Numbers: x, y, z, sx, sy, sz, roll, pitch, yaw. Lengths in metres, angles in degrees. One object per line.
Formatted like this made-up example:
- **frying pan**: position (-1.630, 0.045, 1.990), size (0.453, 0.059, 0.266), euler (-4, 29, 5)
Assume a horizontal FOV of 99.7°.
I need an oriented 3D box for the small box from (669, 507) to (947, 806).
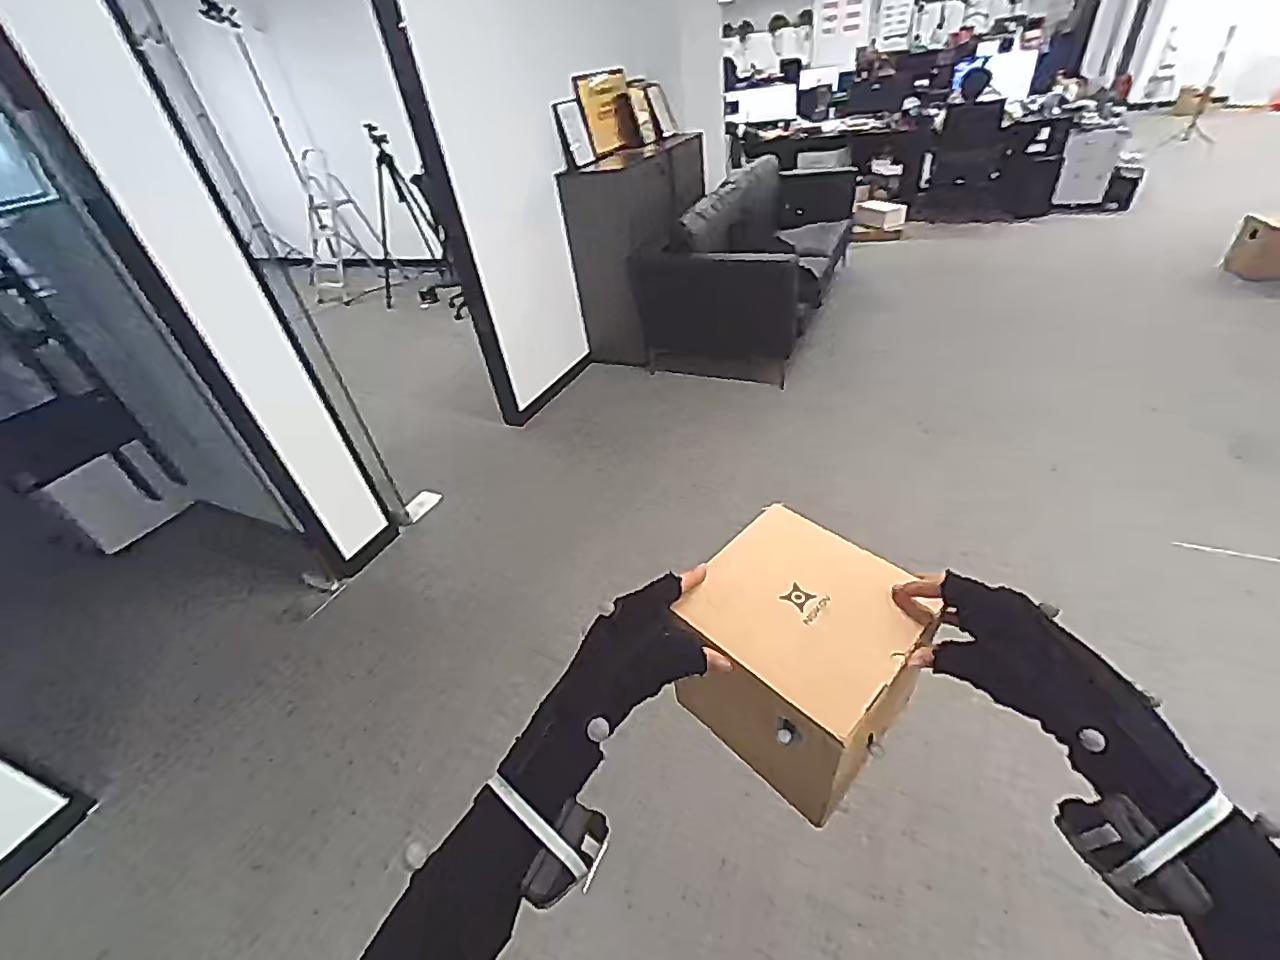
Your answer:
- **small box**: position (0.147, 0.164, 0.516), size (0.168, 0.176, 0.179), euler (-35, 48, -28)
